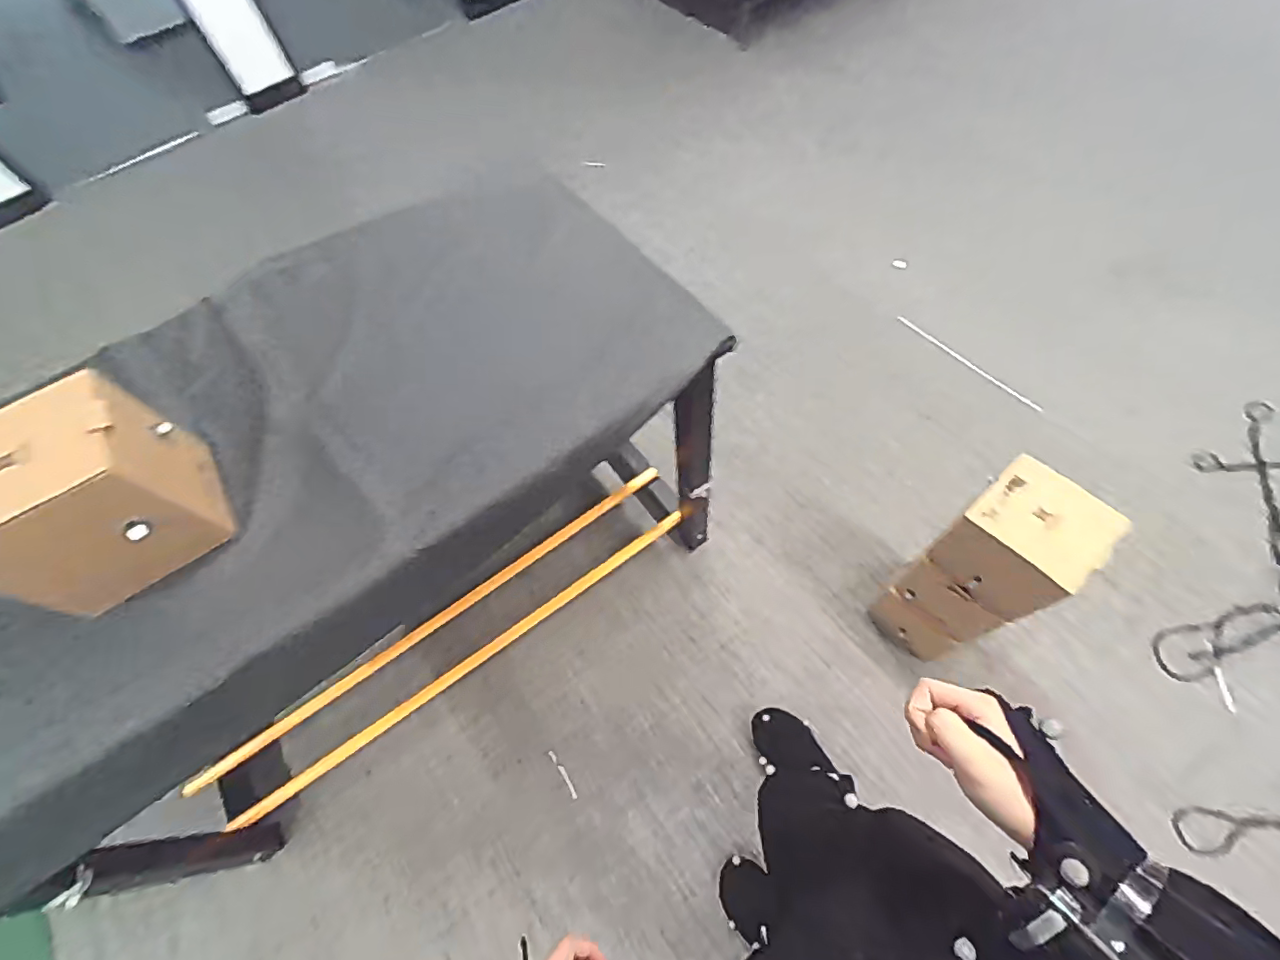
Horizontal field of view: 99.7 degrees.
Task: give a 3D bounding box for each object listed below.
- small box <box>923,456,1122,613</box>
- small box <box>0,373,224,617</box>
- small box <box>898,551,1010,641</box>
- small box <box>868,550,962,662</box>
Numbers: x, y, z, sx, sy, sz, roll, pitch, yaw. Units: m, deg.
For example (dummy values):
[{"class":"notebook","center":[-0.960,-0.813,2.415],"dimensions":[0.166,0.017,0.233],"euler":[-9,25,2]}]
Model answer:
[{"class":"small box","center":[0.618,0.100,0.899],"dimensions":[0.168,0.176,0.179],"euler":[-39,66,-16]},{"class":"small box","center":[-0.611,0.022,0.604],"dimensions":[0.179,0.176,0.168],"euler":[-35,62,-13]},{"class":"small box","center":[0.629,0.182,1.040],"dimensions":[0.179,0.176,0.168],"euler":[-39,65,-17]},{"class":"small box","center":[0.632,0.267,1.181],"dimensions":[0.179,0.176,0.168],"euler":[-41,65,-16]}]
